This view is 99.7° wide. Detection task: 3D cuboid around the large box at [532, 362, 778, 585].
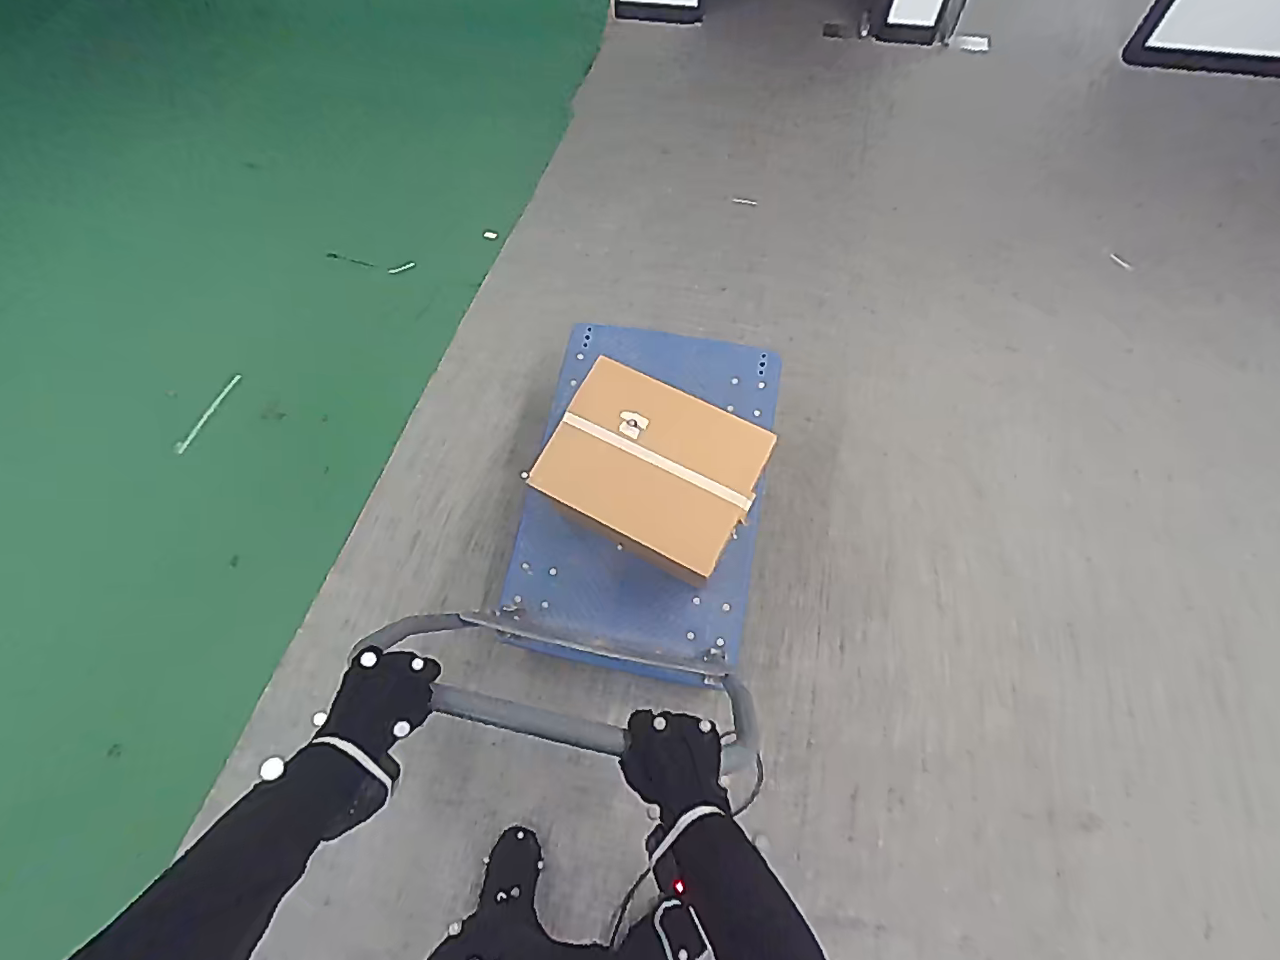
[{"bbox_3d":[0.044,0.003,1.199,0.408,0.320,0.320,26,78,12],"label":"large box"}]
